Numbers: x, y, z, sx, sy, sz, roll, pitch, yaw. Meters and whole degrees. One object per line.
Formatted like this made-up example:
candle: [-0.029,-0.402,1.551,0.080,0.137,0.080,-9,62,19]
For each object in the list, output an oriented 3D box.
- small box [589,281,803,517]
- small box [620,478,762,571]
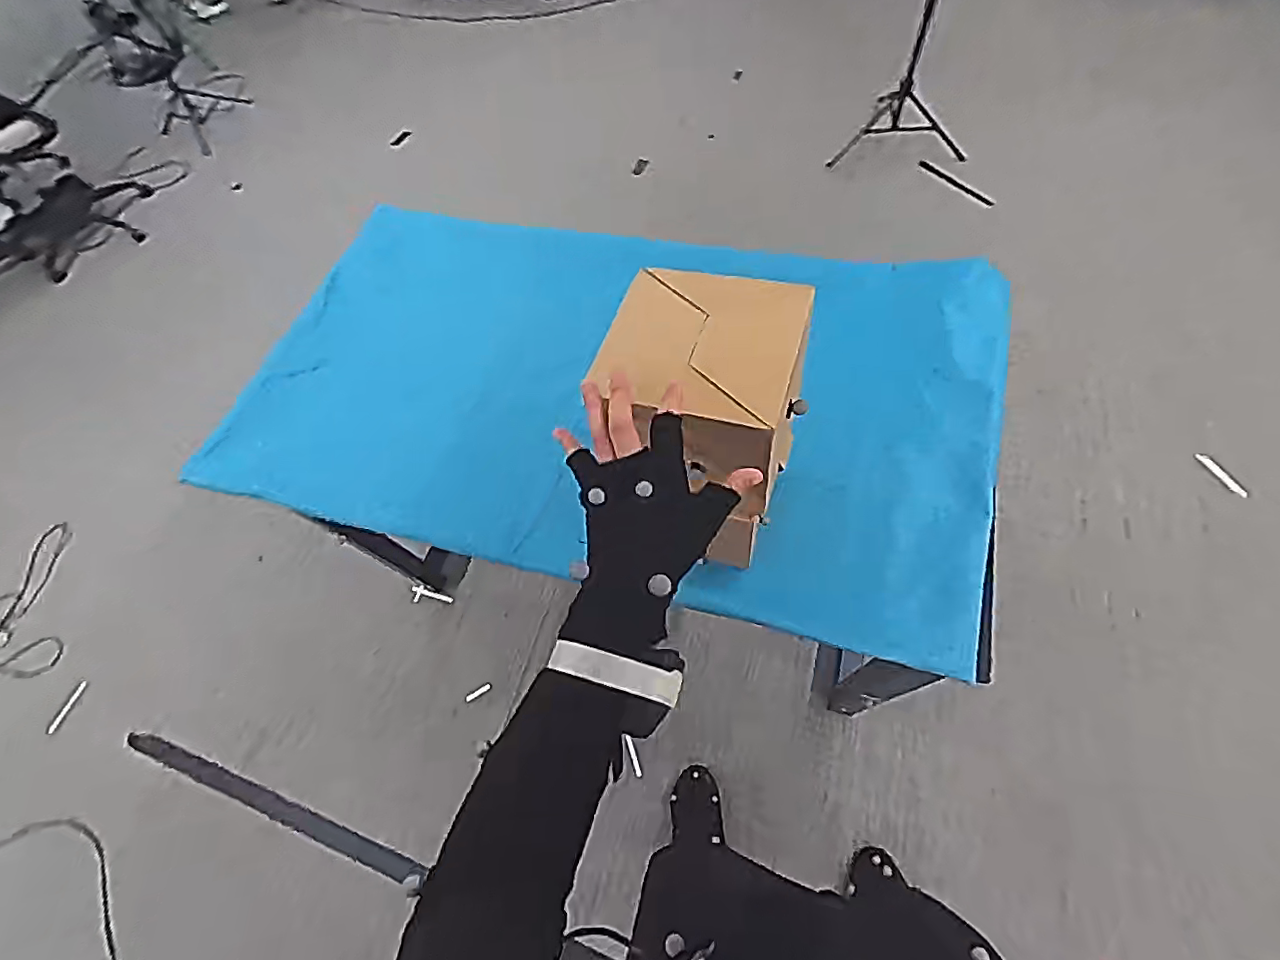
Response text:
small box: [0.069,-0.084,0.567,0.179,0.176,0.168,13,63,18]
small box: [0.083,-0.004,0.709,0.168,0.176,0.179,12,65,15]
